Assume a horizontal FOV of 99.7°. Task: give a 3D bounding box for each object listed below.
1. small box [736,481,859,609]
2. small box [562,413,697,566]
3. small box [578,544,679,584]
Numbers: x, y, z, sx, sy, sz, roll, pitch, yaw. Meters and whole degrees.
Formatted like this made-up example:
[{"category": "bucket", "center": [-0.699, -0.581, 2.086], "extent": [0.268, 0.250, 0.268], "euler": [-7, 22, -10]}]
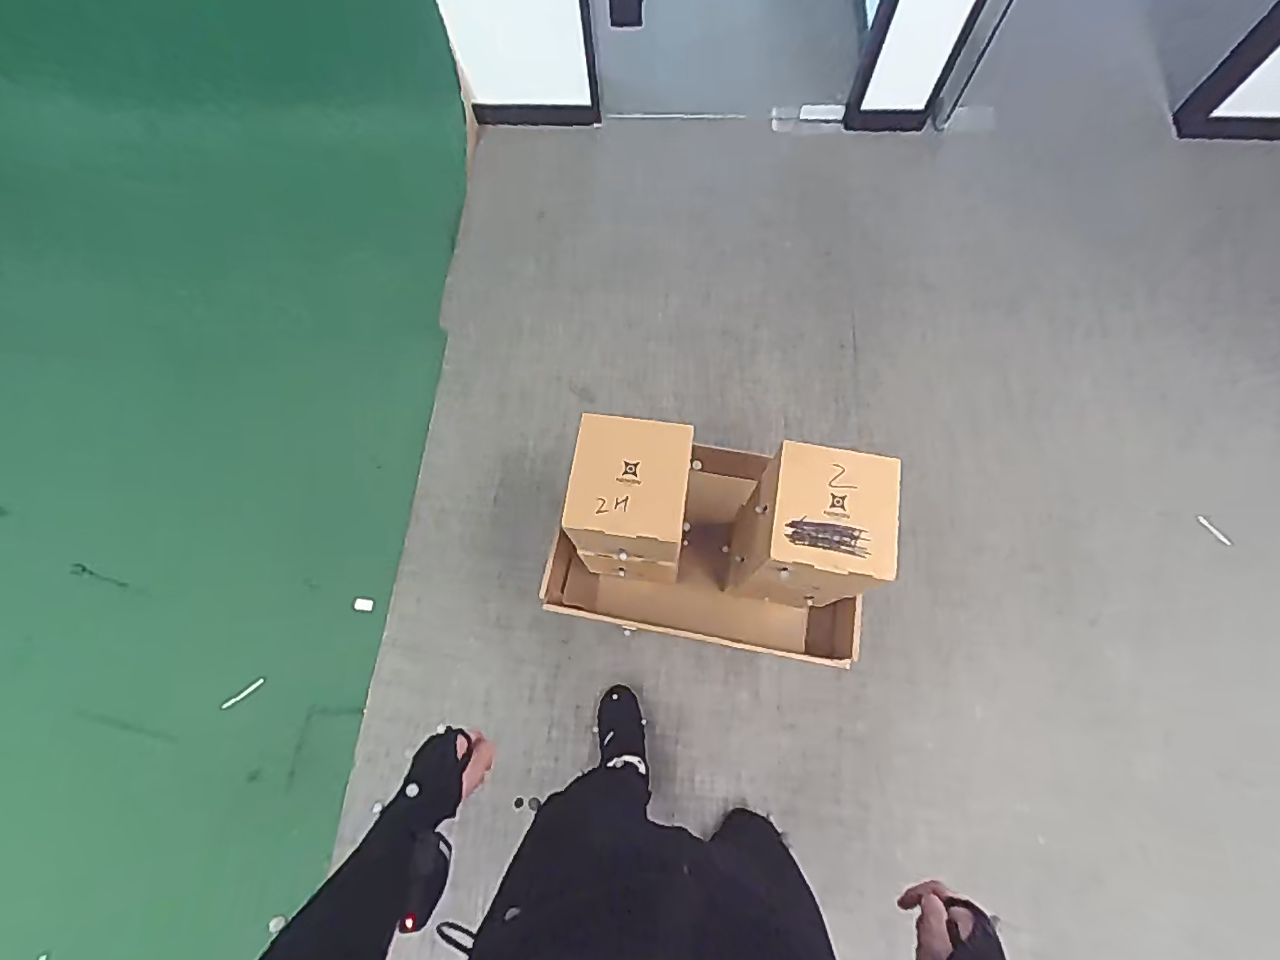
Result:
[{"category": "small box", "center": [0.269, 0.122, 0.950], "extent": [0.168, 0.176, 0.179], "euler": [10, 71, 5]}, {"category": "small box", "center": [-0.011, 0.020, 0.822], "extent": [0.168, 0.176, 0.179], "euler": [8, 72, 5]}, {"category": "small box", "center": [-0.009, 0.080, 0.977], "extent": [0.168, 0.176, 0.179], "euler": [7, 71, 4]}]
